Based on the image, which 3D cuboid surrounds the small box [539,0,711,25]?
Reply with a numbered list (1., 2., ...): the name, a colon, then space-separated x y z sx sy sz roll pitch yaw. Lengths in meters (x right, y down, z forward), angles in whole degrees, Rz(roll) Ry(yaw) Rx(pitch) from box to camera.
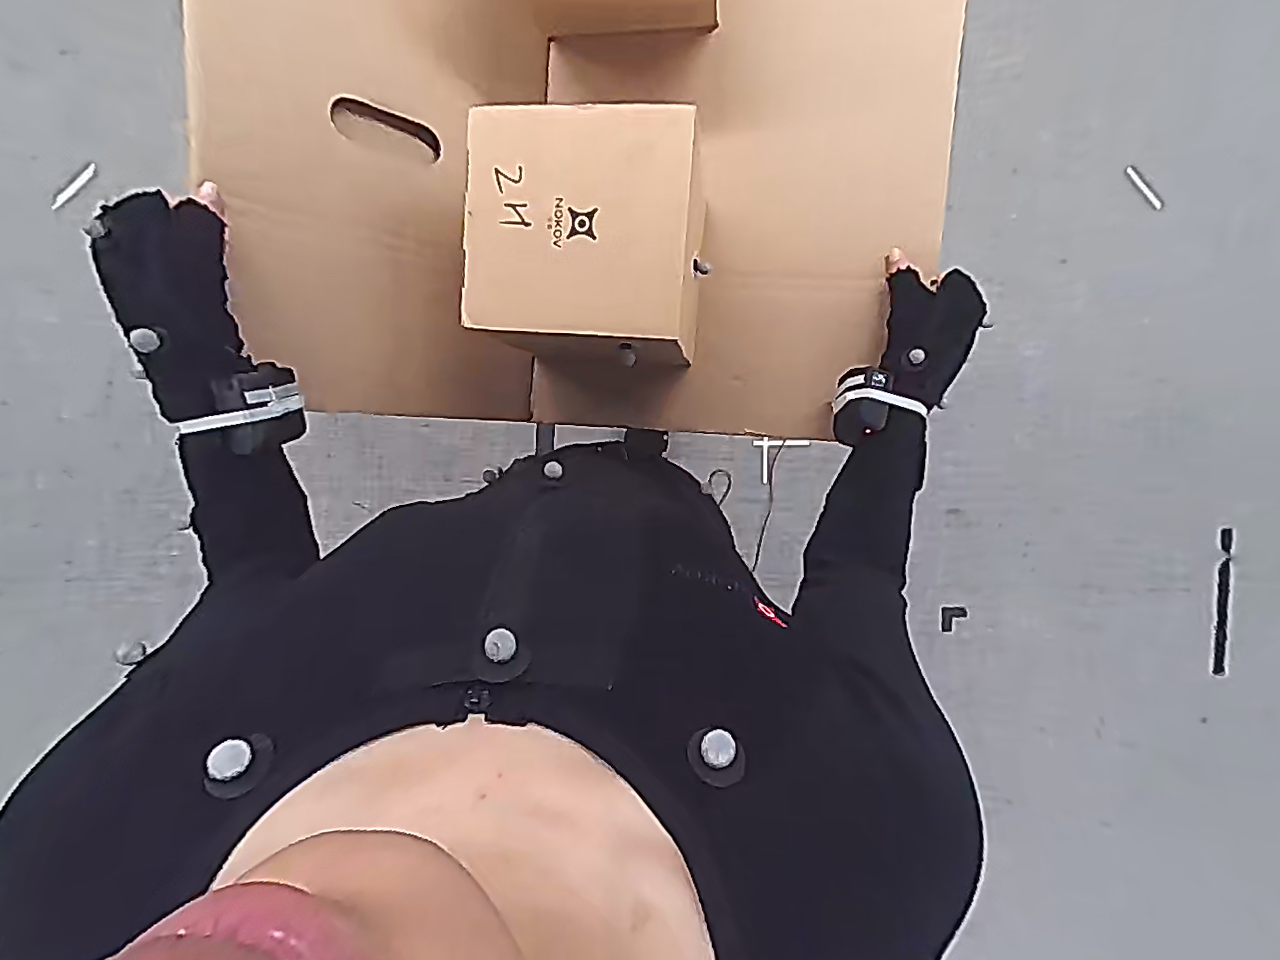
1. small box: -0.021 -0.531 0.457 0.179 0.176 0.168 3 97 8
